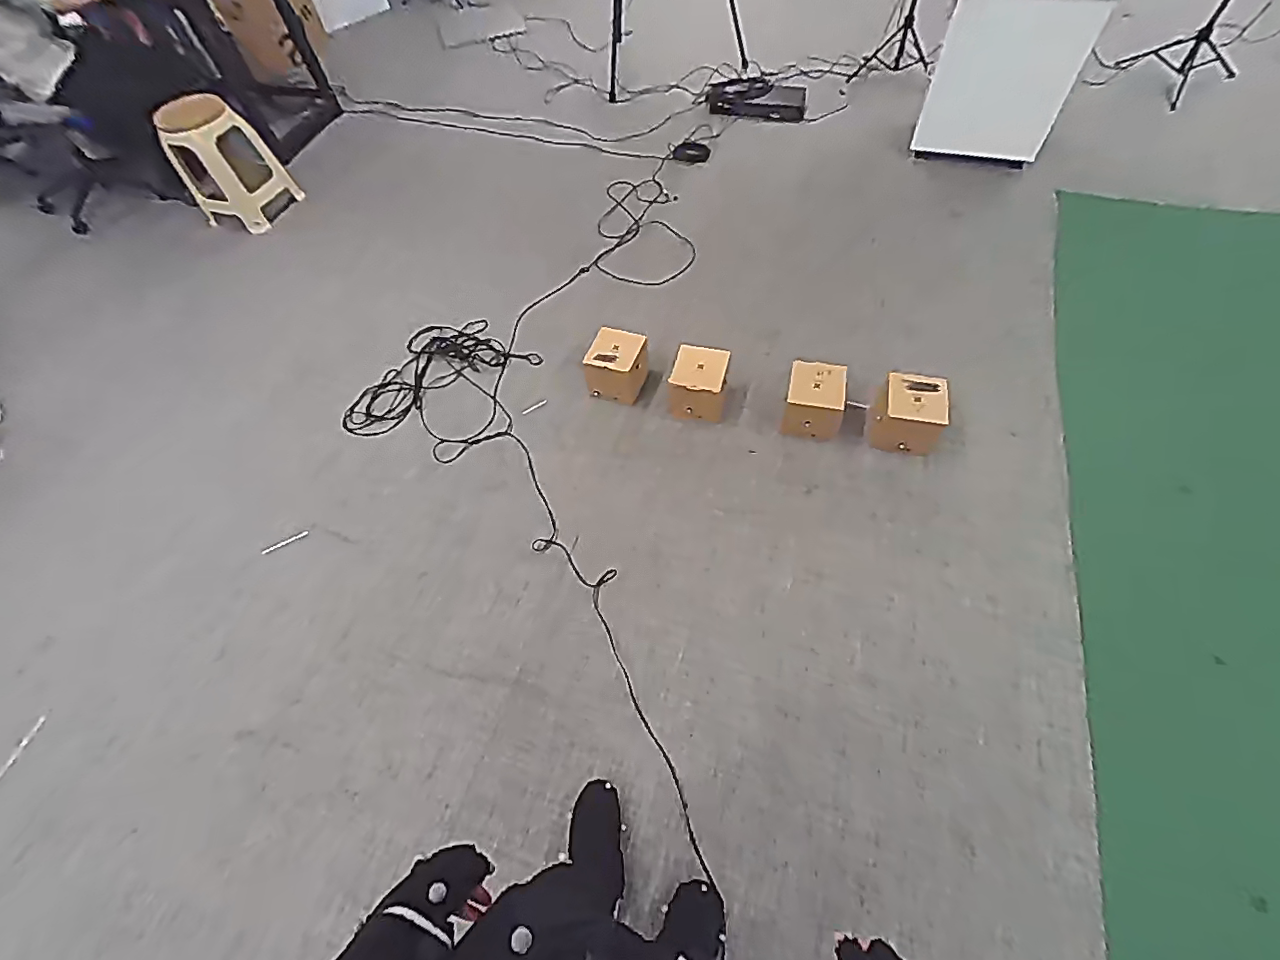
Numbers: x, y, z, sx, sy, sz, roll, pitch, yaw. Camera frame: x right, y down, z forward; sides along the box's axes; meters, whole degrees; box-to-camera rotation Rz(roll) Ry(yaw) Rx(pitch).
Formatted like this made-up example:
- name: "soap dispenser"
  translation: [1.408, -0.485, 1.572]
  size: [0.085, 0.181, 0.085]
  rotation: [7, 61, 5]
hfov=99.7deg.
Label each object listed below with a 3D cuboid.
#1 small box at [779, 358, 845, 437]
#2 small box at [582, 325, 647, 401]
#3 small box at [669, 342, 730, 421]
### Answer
- name: "small box"
  translation: [0.540, -0.257, 1.714]
  size: [0.168, 0.176, 0.179]
  rotation: [11, 60, 10]
- name: "small box"
  translation: [-0.078, -0.398, 1.856]
  size: [0.168, 0.176, 0.179]
  rotation: [16, 61, 14]
- name: "small box"
  translation: [0.195, -0.324, 1.788]
  size: [0.168, 0.176, 0.179]
  rotation: [11, 61, 12]
